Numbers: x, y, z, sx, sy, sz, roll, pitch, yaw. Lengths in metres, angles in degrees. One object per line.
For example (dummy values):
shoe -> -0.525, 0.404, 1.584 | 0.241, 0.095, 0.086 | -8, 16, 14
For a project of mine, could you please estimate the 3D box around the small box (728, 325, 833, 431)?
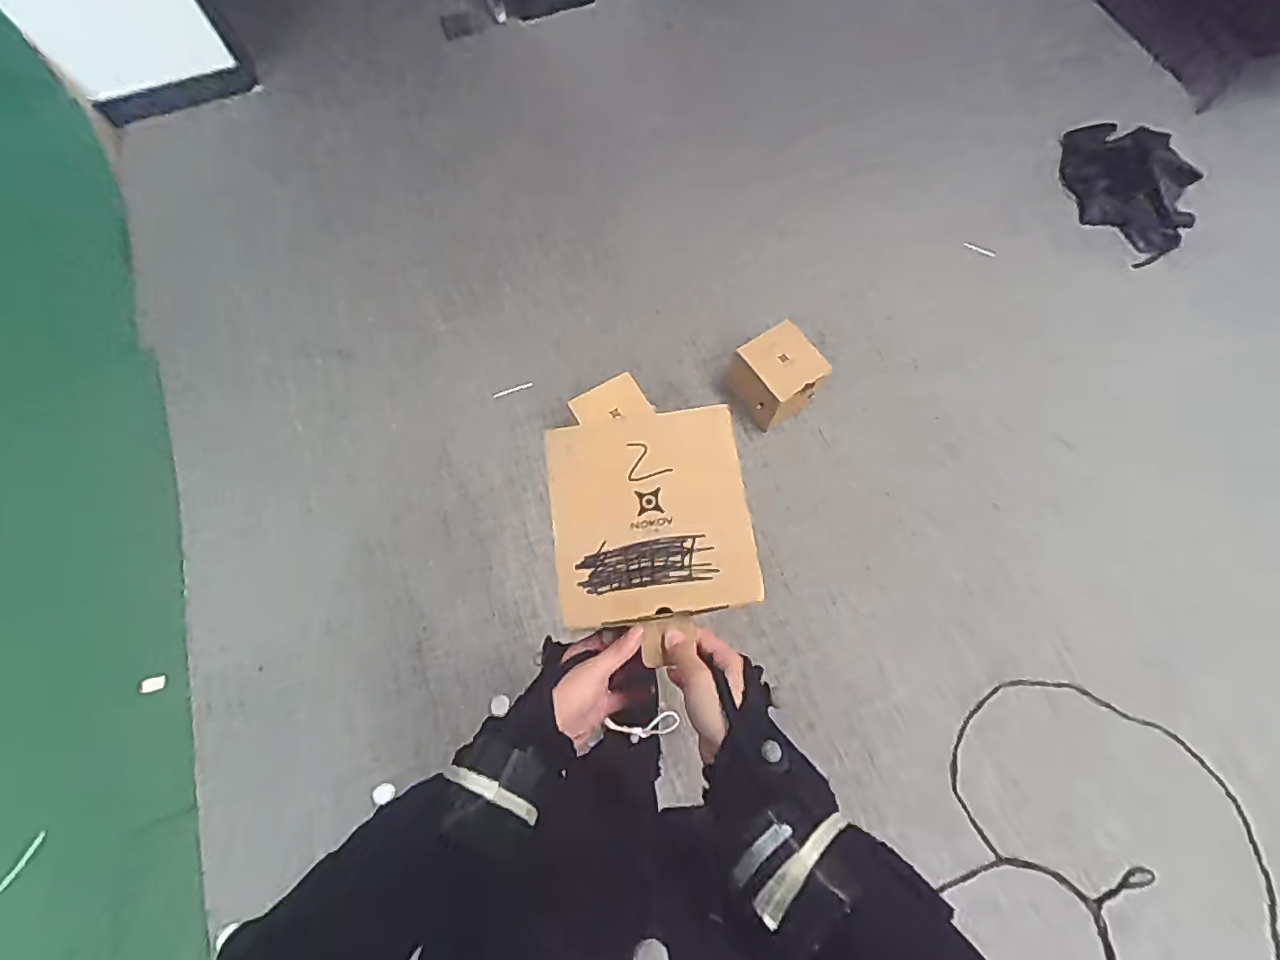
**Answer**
small box -> 0.345, -0.245, 1.357 | 0.168, 0.176, 0.179 | -32, 72, -12

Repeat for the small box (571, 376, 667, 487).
small box -> -0.051, -0.112, 1.308 | 0.168, 0.176, 0.179 | -29, 73, -10
